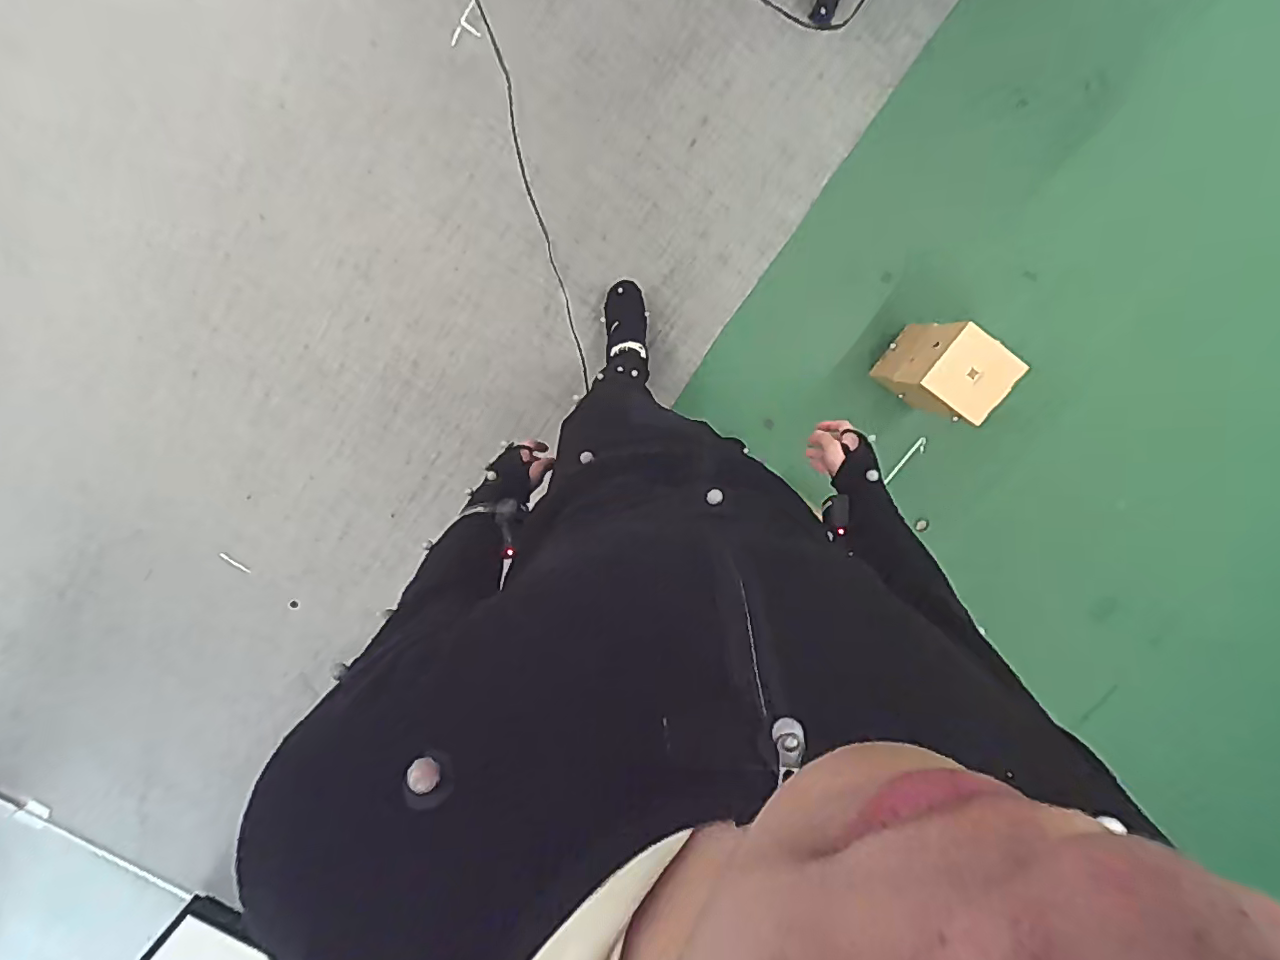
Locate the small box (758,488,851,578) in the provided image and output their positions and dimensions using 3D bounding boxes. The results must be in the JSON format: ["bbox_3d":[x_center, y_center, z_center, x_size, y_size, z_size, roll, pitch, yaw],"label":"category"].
[{"bbox_3d":[0.468,0.145,1.562,0.179,0.176,0.168,37,104,-6],"label":"small box"}]

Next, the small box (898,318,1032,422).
[{"bbox_3d":[0.751,-0.258,1.275,0.179,0.176,0.168,34,103,-7],"label":"small box"}]

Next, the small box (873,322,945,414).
[{"bbox_3d":[0.761,-0.300,1.430,0.179,0.176,0.168,35,103,-5],"label":"small box"}]
